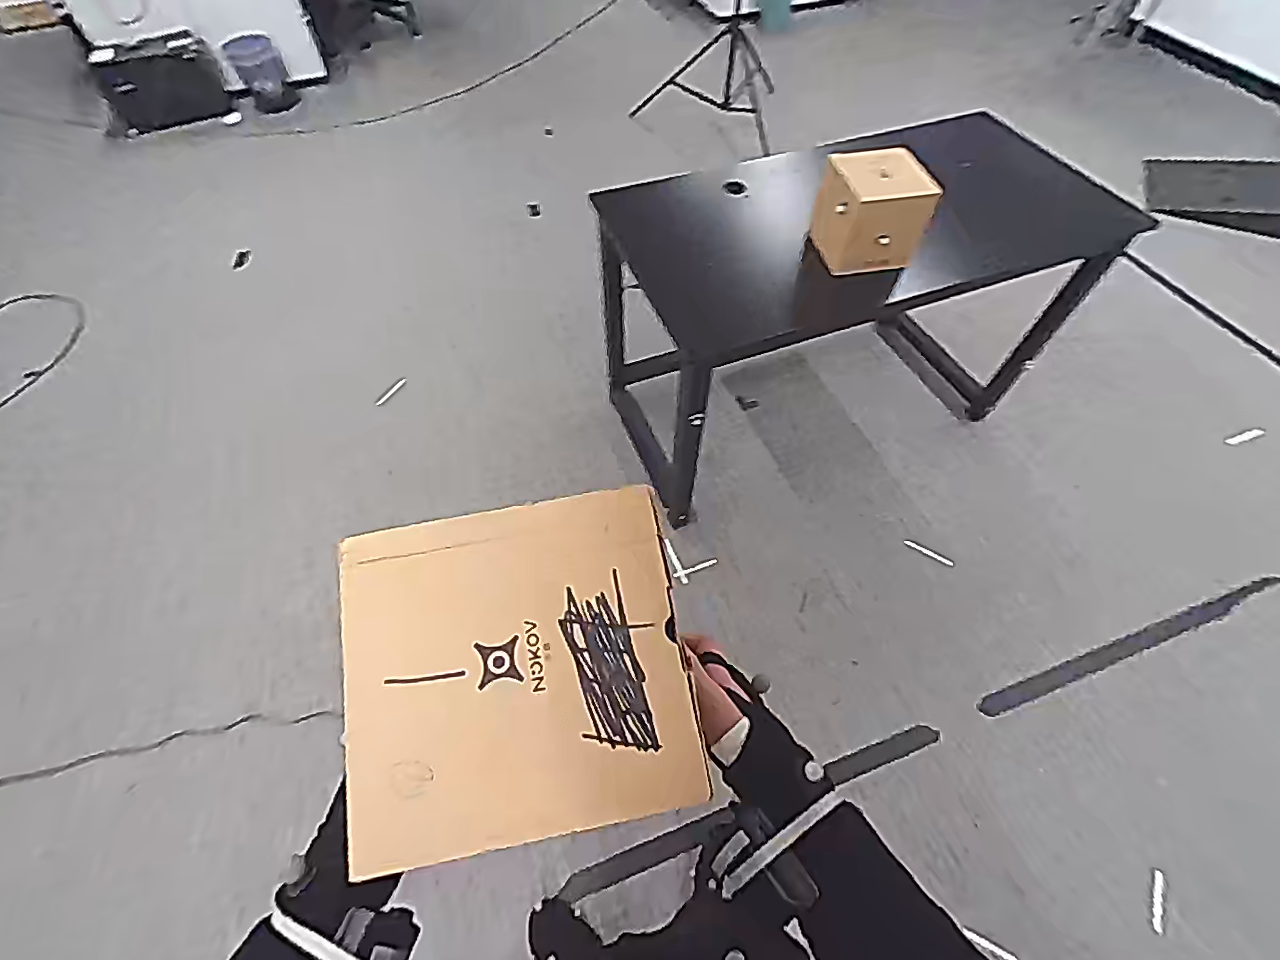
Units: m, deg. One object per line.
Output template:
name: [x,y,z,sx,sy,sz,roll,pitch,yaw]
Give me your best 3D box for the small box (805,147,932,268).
small box: [0.472,-0.569,1.146,0.168,0.176,0.179,-9,57,-6]
